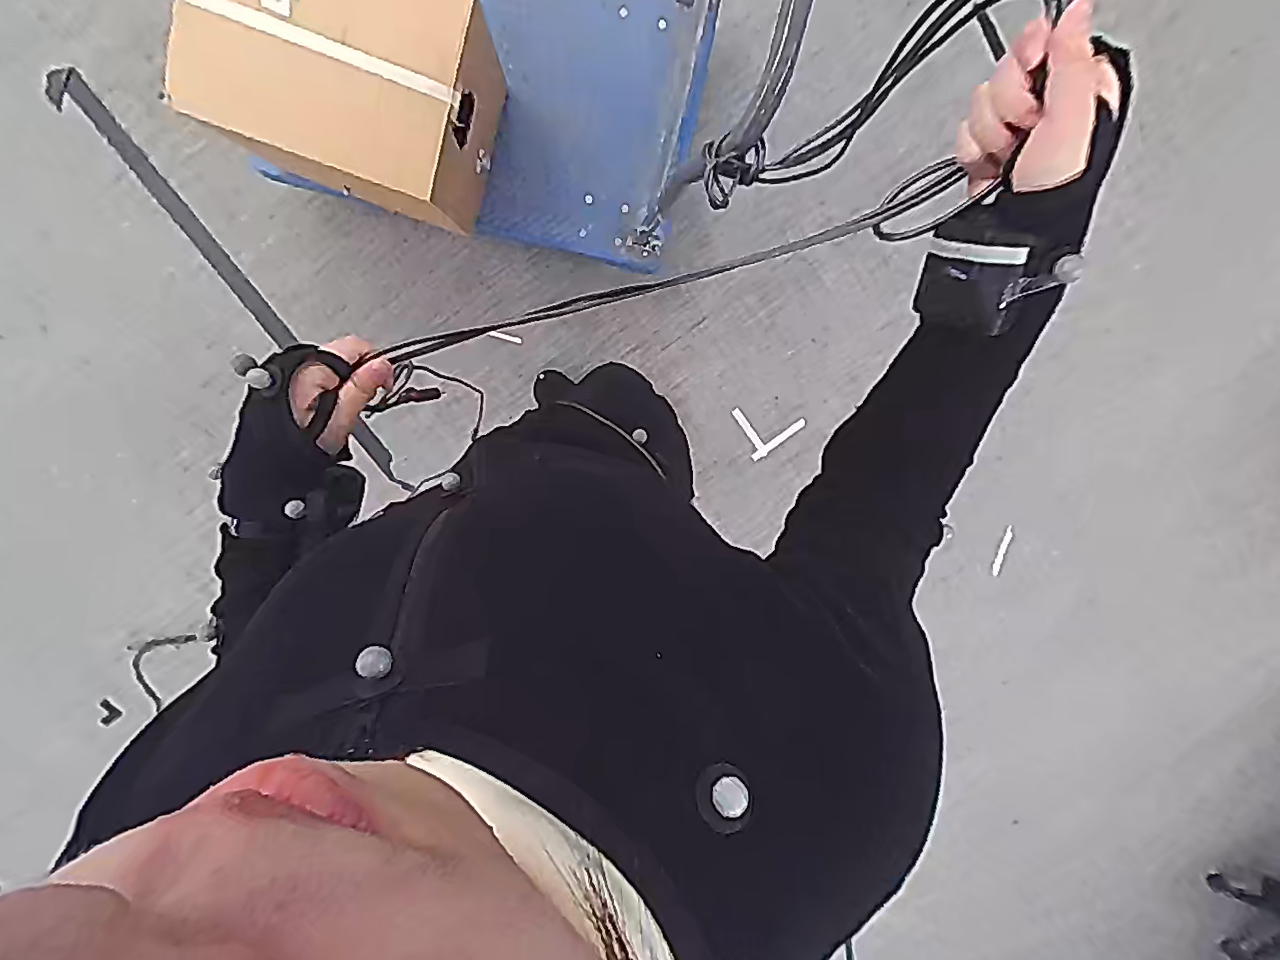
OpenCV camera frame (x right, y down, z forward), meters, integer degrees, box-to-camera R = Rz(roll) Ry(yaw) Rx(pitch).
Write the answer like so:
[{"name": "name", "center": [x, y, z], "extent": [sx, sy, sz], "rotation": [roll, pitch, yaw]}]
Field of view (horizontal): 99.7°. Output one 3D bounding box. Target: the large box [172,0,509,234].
[{"name": "large box", "center": [-0.482, -0.675, 0.952], "extent": [0.408, 0.320, 0.320], "rotation": [17, 102, -8]}]
